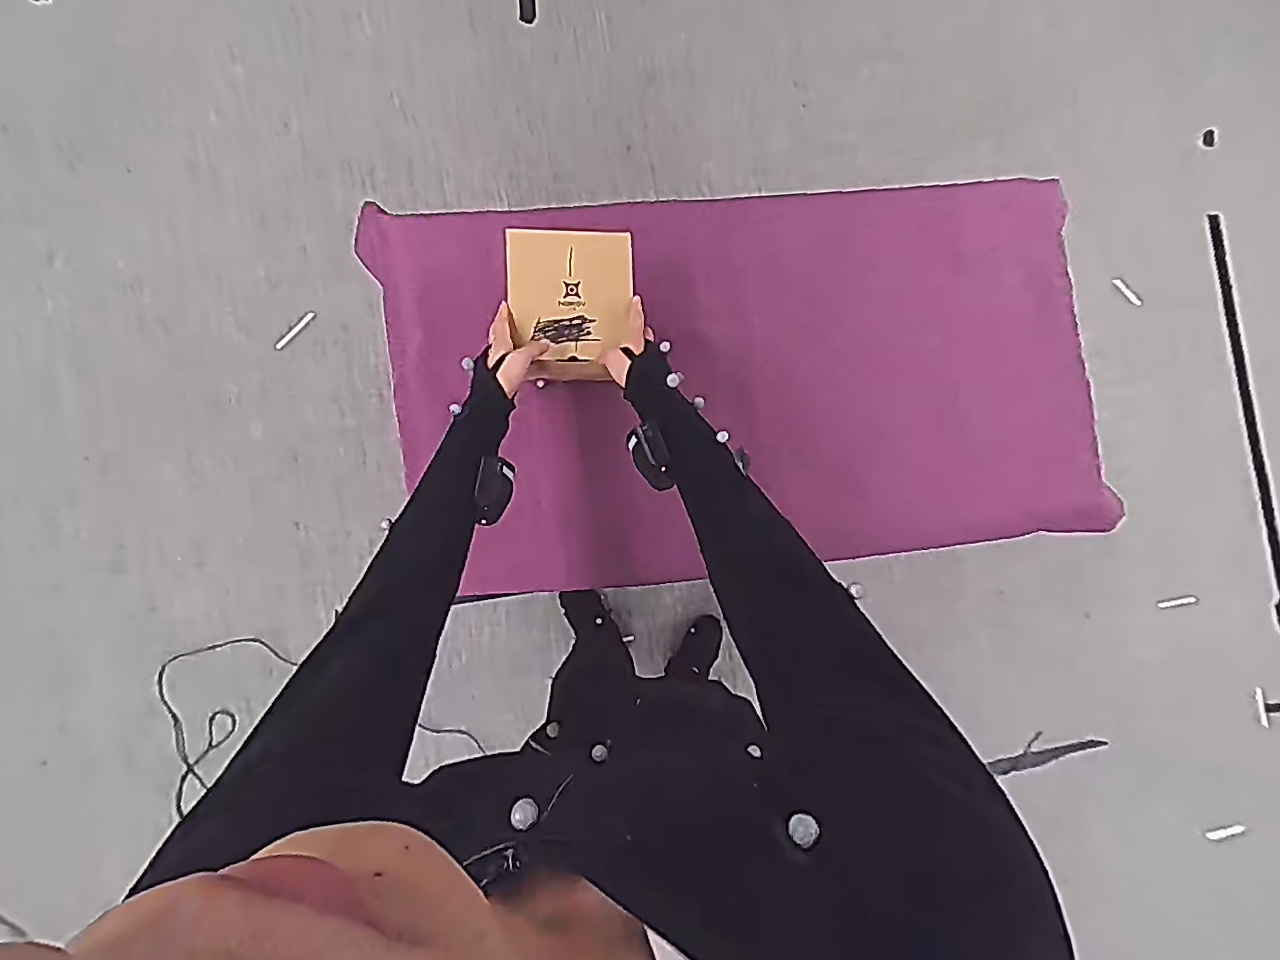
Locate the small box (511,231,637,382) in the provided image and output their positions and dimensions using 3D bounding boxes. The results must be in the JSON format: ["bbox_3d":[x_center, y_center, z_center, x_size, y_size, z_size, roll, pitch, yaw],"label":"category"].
[{"bbox_3d":[-0.096,-0.240,0.792,0.168,0.176,0.179,-2,92,-9],"label":"small box"}]
